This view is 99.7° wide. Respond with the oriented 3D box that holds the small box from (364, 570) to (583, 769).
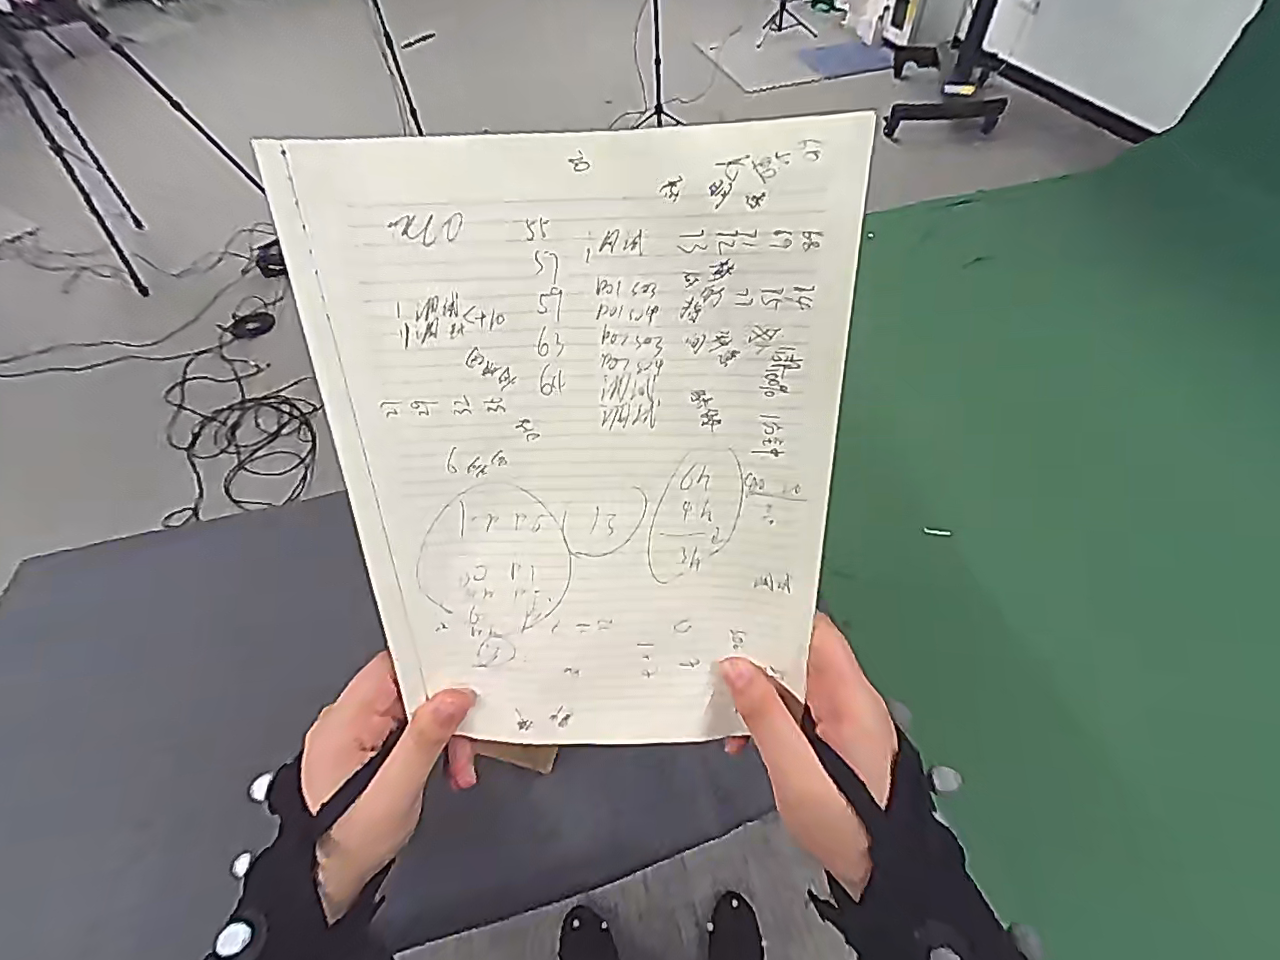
[{"bbox_3d":[-0.180,0.234,0.656,0.179,0.176,0.168,9,54,12],"label":"small box"}]
